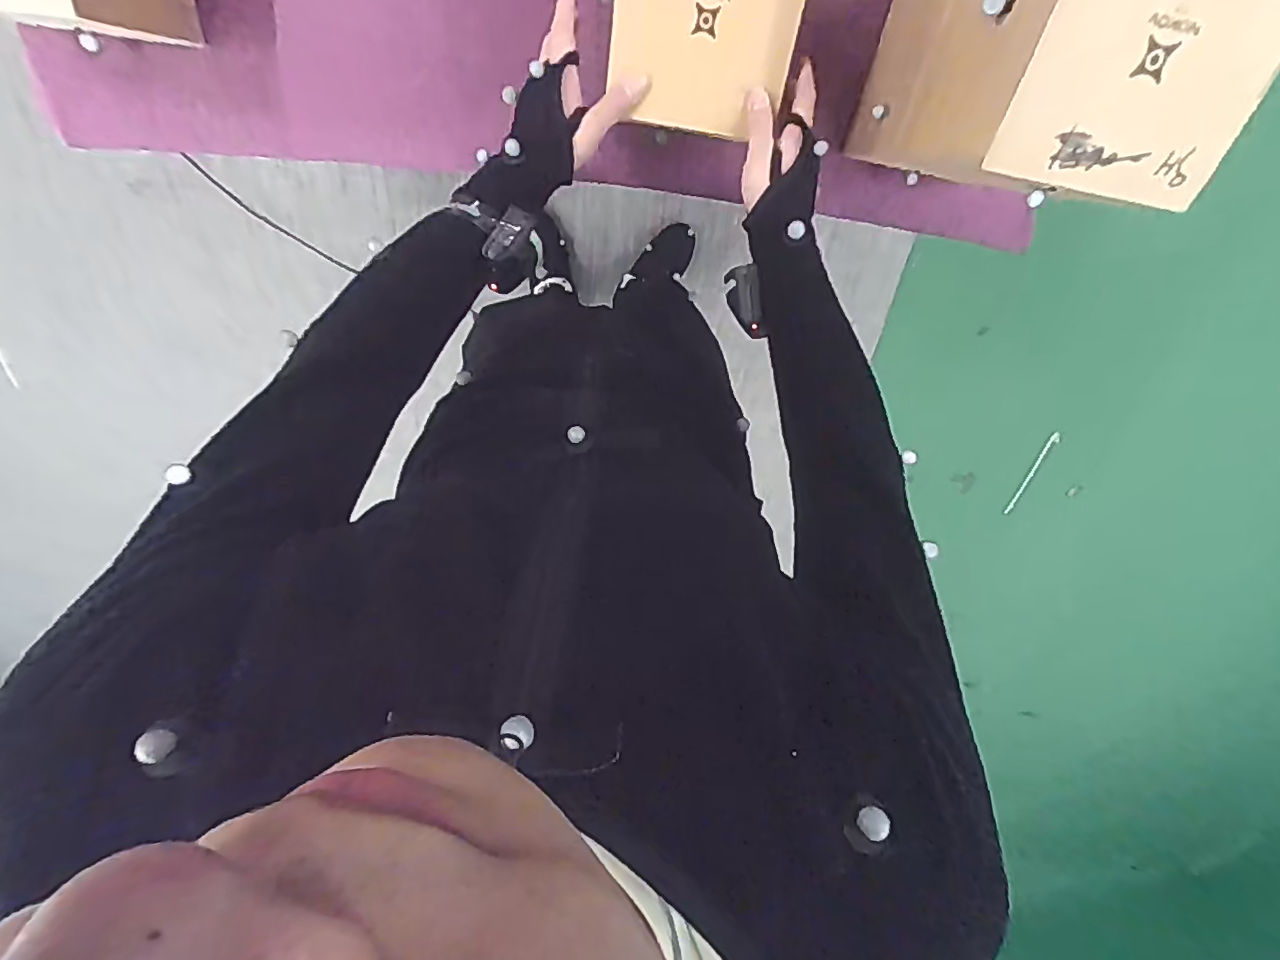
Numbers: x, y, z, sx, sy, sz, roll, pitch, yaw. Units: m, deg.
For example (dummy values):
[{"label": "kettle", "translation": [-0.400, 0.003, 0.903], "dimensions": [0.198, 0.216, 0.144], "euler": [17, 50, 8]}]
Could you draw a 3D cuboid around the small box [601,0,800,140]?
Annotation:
[{"label": "small box", "translation": [0.058, -0.454, 0.538], "dimensions": [0.168, 0.176, 0.179], "euler": [7, 122, -4]}]

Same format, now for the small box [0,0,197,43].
[{"label": "small box", "translation": [-0.562, -0.529, 0.490], "dimensions": [0.168, 0.176, 0.179], "euler": [6, 122, -3]}]

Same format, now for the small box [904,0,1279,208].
[{"label": "small box", "translation": [0.337, -0.328, 0.417], "dimensions": [0.168, 0.176, 0.179], "euler": [10, 121, -4]}]
